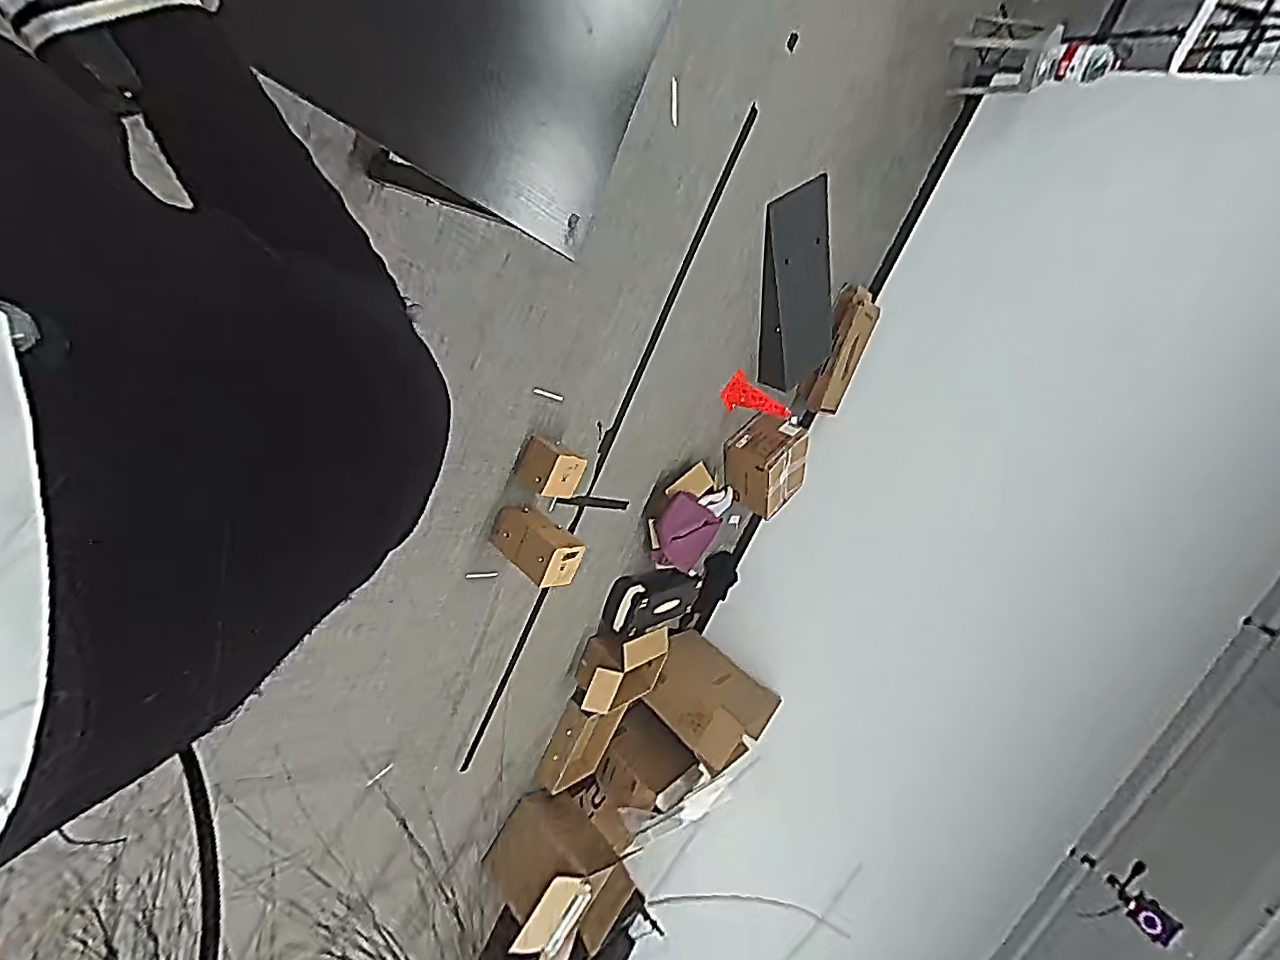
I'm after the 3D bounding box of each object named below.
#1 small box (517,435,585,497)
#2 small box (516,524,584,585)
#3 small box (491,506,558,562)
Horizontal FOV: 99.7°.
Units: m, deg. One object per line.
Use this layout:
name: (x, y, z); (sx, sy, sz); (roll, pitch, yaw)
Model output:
small box: (-0.352, -0.053, 2.103); (0.168, 0.176, 0.179); (11, 107, -55)
small box: (-0.351, 0.280, 2.079); (0.168, 0.176, 0.179); (5, 114, -54)
small box: (-0.469, 0.212, 2.174); (0.179, 0.176, 0.168); (5, 113, -53)
